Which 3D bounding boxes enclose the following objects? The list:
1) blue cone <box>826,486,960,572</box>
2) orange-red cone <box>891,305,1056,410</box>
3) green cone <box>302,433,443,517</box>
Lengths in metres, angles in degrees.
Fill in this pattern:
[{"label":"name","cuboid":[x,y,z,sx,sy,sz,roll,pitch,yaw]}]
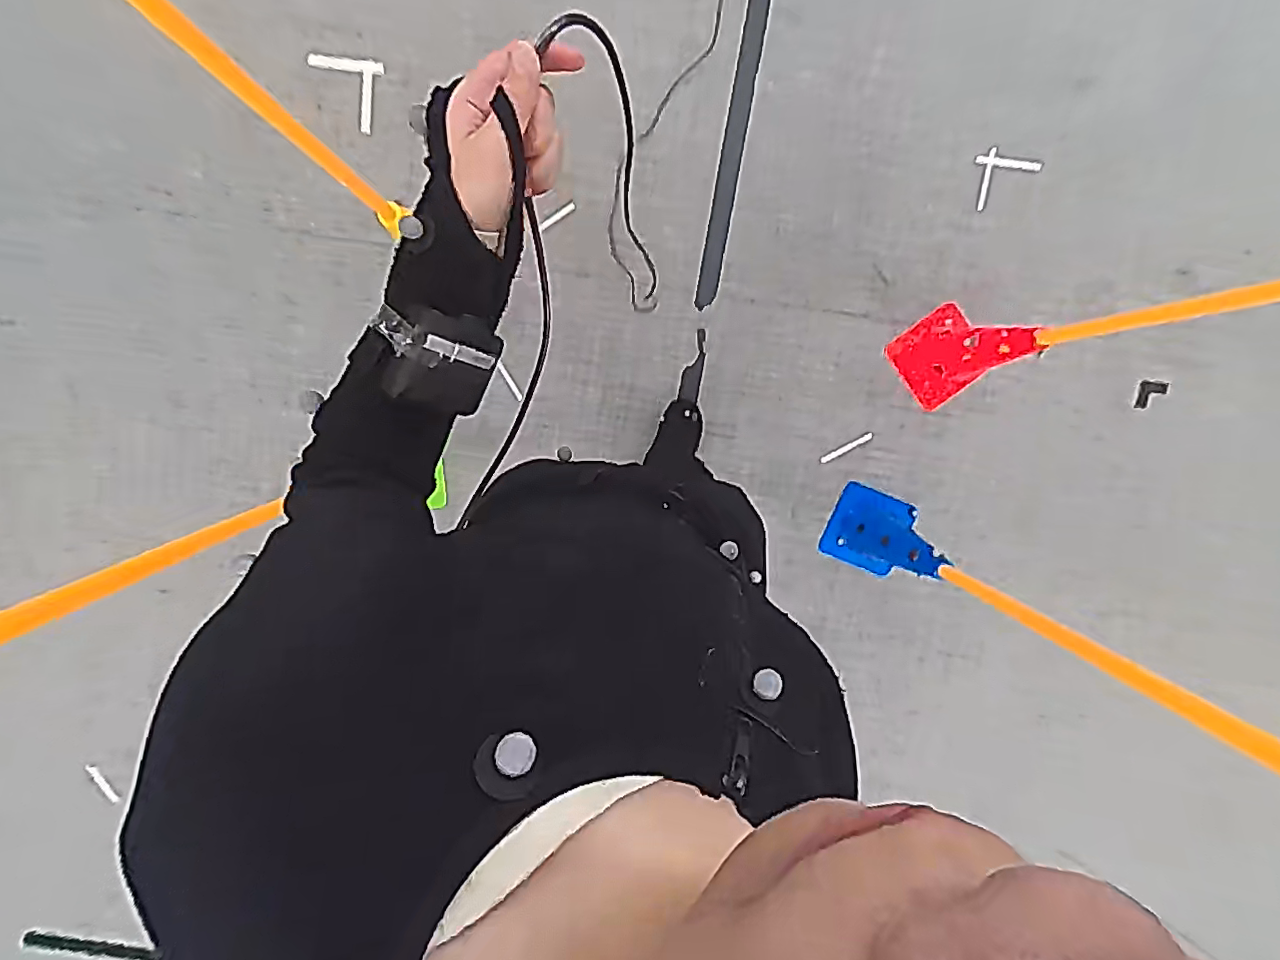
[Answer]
[{"label":"blue cone","cuboid":[0.578,0.143,1.196,0.193,0.380,0.192,24,95,-2]},{"label":"orange-red cone","cuboid":[0.724,-0.271,1.132,0.199,0.360,0.198,-35,95,6]},{"label":"green cone","cuboid":[-0.596,0.004,1.170,0.200,0.368,0.202,-5,95,1]}]
